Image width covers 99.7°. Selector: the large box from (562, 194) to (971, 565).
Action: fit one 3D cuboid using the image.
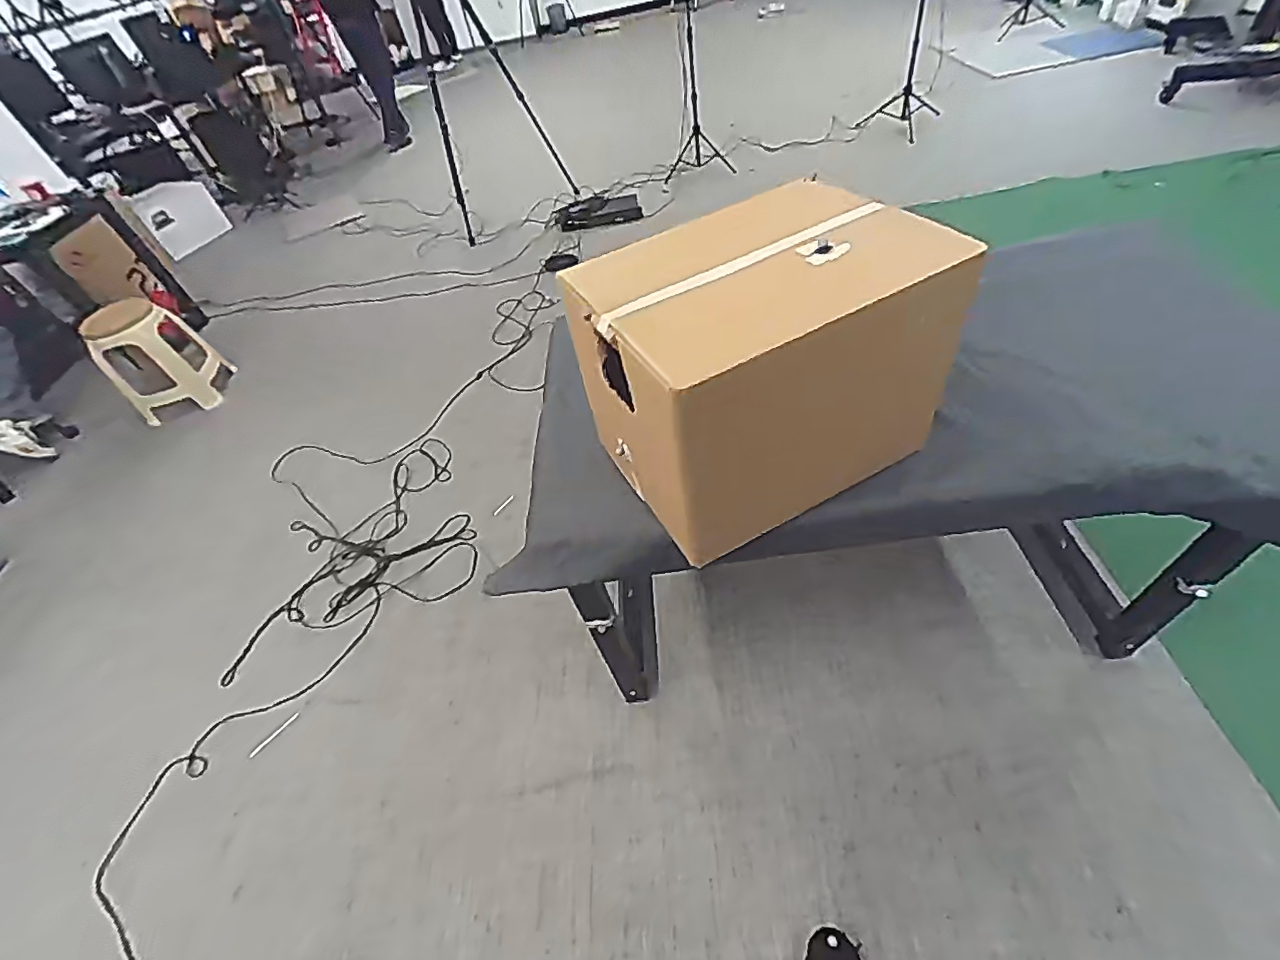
[{"bbox_3d":[0.156,-0.152,0.769,0.408,0.320,0.320,-26,49,-14],"label":"large box"}]
